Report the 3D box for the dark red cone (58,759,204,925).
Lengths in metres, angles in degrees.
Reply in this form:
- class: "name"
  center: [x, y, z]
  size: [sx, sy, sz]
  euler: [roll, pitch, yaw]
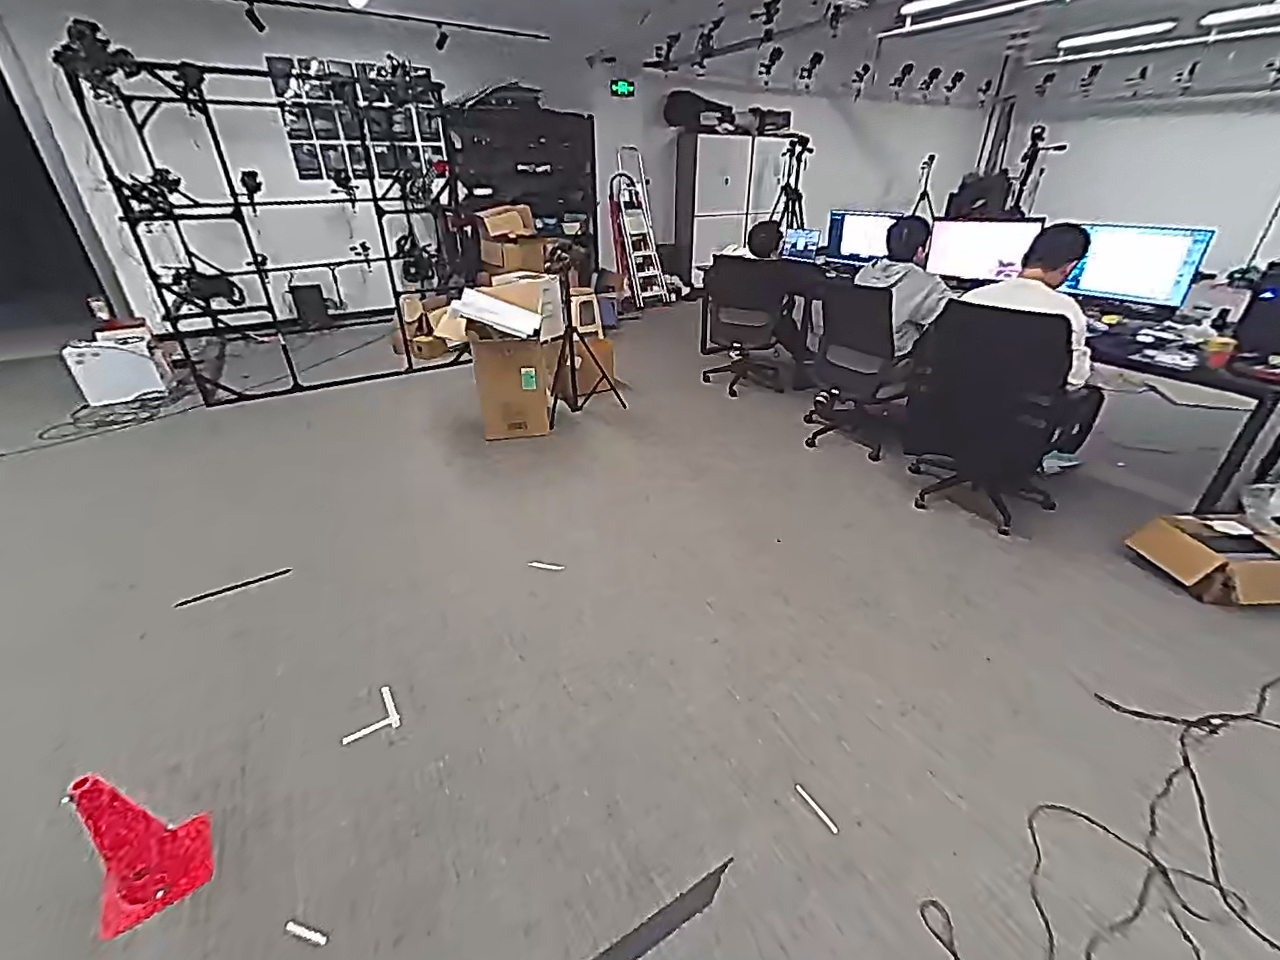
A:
- class: "dark red cone"
  center: [-1.141, 0.744, 1.175]
  size: [0.202, 0.394, 0.201]
  euler: [-22, 37, -33]
